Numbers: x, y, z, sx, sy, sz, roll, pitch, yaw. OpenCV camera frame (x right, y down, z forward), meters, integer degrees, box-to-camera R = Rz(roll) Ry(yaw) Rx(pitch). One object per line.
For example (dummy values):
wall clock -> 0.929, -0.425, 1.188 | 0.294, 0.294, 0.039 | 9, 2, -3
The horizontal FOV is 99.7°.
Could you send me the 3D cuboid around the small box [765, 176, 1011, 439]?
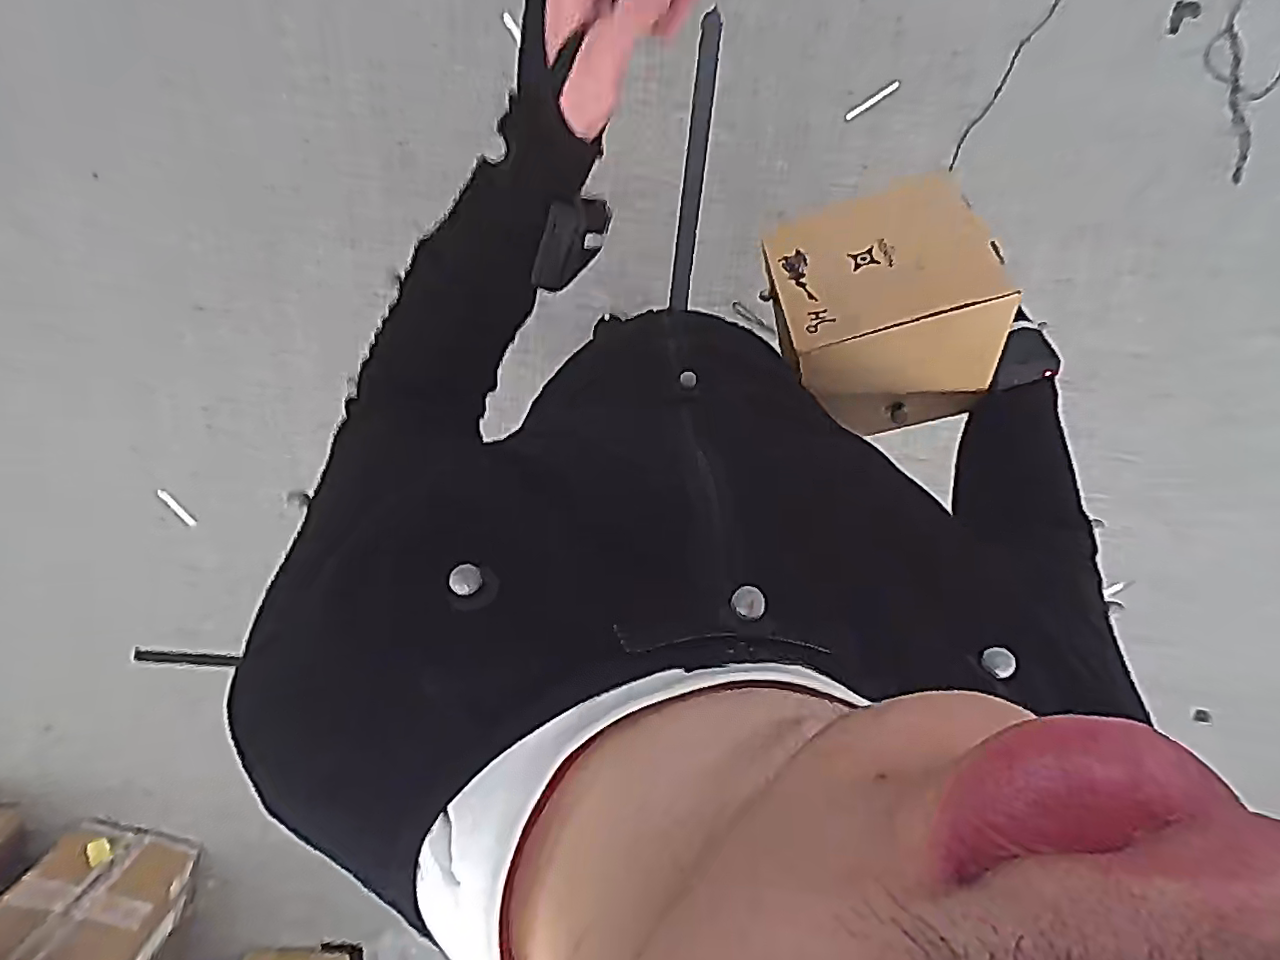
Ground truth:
small box -> 0.240, -0.166, 0.564 | 0.179, 0.168, 0.176 | -14, 149, 14
